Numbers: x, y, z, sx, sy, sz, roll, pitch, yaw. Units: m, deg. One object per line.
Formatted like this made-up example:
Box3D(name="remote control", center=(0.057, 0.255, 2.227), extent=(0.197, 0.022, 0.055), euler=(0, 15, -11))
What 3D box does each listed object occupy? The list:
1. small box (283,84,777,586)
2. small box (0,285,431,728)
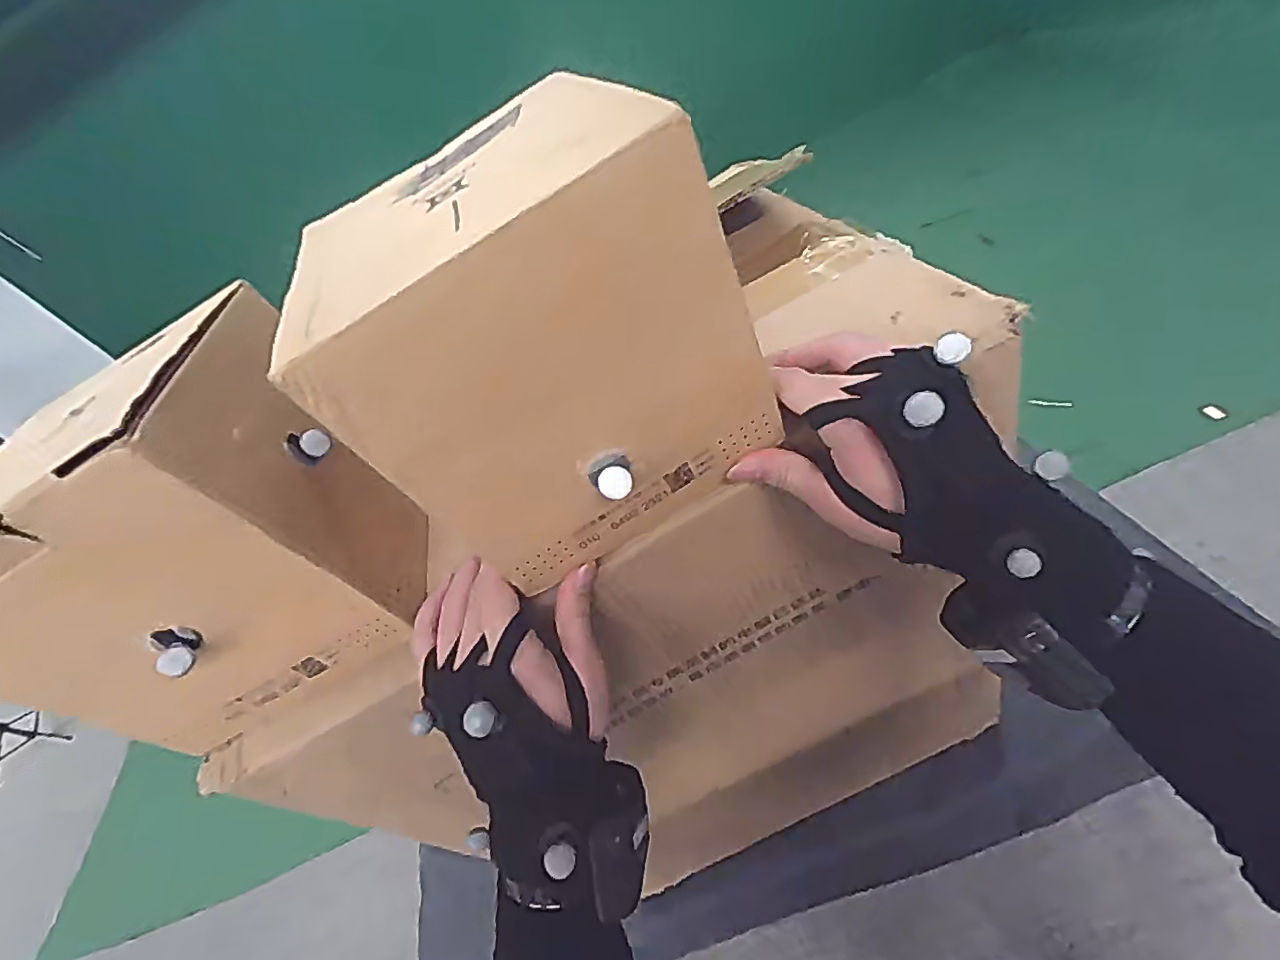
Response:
Box3D(name="small box", center=(-0.049, -0.076, 0.297), extent=(0.168, 0.176, 0.179), euler=(-31, 46, 1))
Box3D(name="small box", center=(-0.247, 0.024, 0.325), extent=(0.168, 0.176, 0.179), euler=(-29, 43, 6))
